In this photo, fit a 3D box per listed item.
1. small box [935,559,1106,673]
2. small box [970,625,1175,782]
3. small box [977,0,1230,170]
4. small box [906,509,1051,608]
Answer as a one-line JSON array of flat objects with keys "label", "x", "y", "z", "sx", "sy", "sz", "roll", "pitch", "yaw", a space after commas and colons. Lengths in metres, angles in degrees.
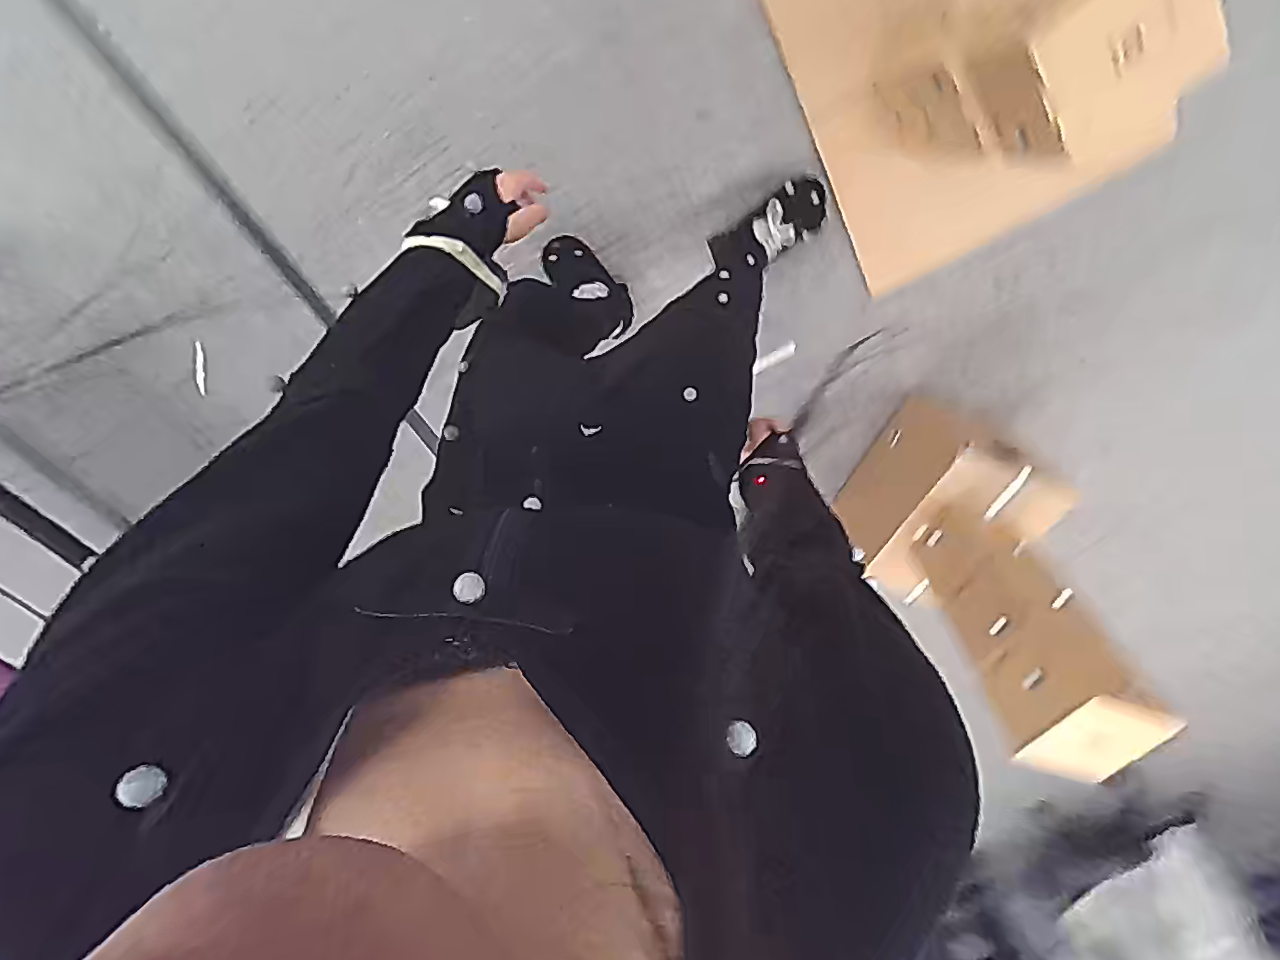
[{"label": "small box", "x": 0.726, "y": 0.281, "z": 1.054, "sx": 0.179, "sy": 0.176, "sz": 0.168, "roll": 19, "pitch": 122, "yaw": -9}, {"label": "small box", "x": 0.713, "y": 0.373, "z": 0.920, "sx": 0.179, "sy": 0.176, "sz": 0.168, "roll": 19, "pitch": 122, "yaw": -9}, {"label": "small box", "x": 0.569, "y": -0.531, "z": 0.692, "sx": 0.179, "sy": 0.176, "sz": 0.168, "roll": -33, "pitch": 115, "yaw": 21}, {"label": "small box", "x": 0.732, "y": 0.189, "z": 1.190, "sx": 0.179, "sy": 0.176, "sz": 0.168, "roll": 19, "pitch": 122, "yaw": -8}]
